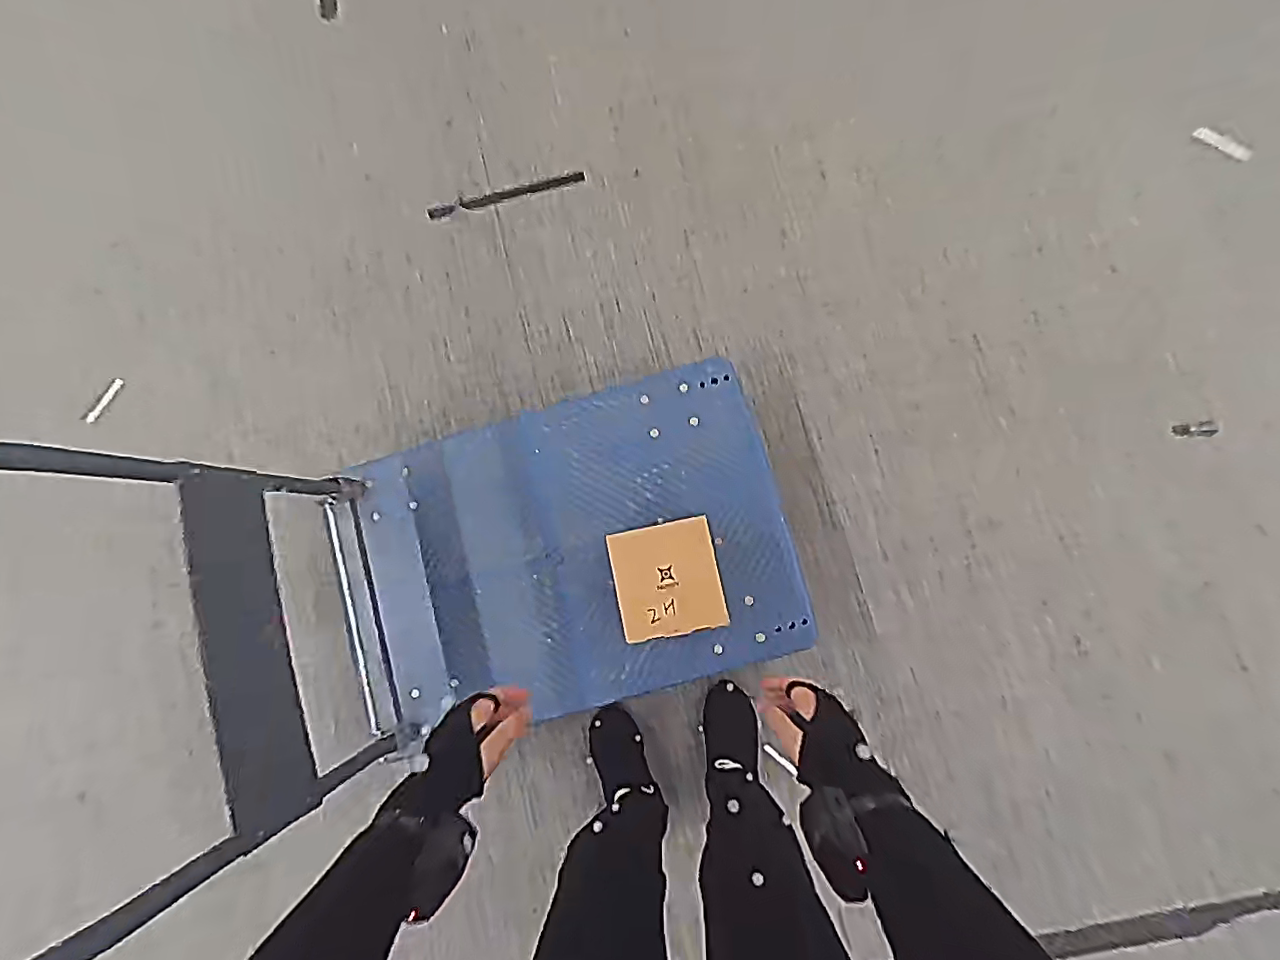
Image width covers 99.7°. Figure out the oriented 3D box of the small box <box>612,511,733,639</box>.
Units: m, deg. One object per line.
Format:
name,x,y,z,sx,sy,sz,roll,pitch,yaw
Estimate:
small box,0.055,0.160,0.927,0.168,0.176,0.179,-13,82,4
